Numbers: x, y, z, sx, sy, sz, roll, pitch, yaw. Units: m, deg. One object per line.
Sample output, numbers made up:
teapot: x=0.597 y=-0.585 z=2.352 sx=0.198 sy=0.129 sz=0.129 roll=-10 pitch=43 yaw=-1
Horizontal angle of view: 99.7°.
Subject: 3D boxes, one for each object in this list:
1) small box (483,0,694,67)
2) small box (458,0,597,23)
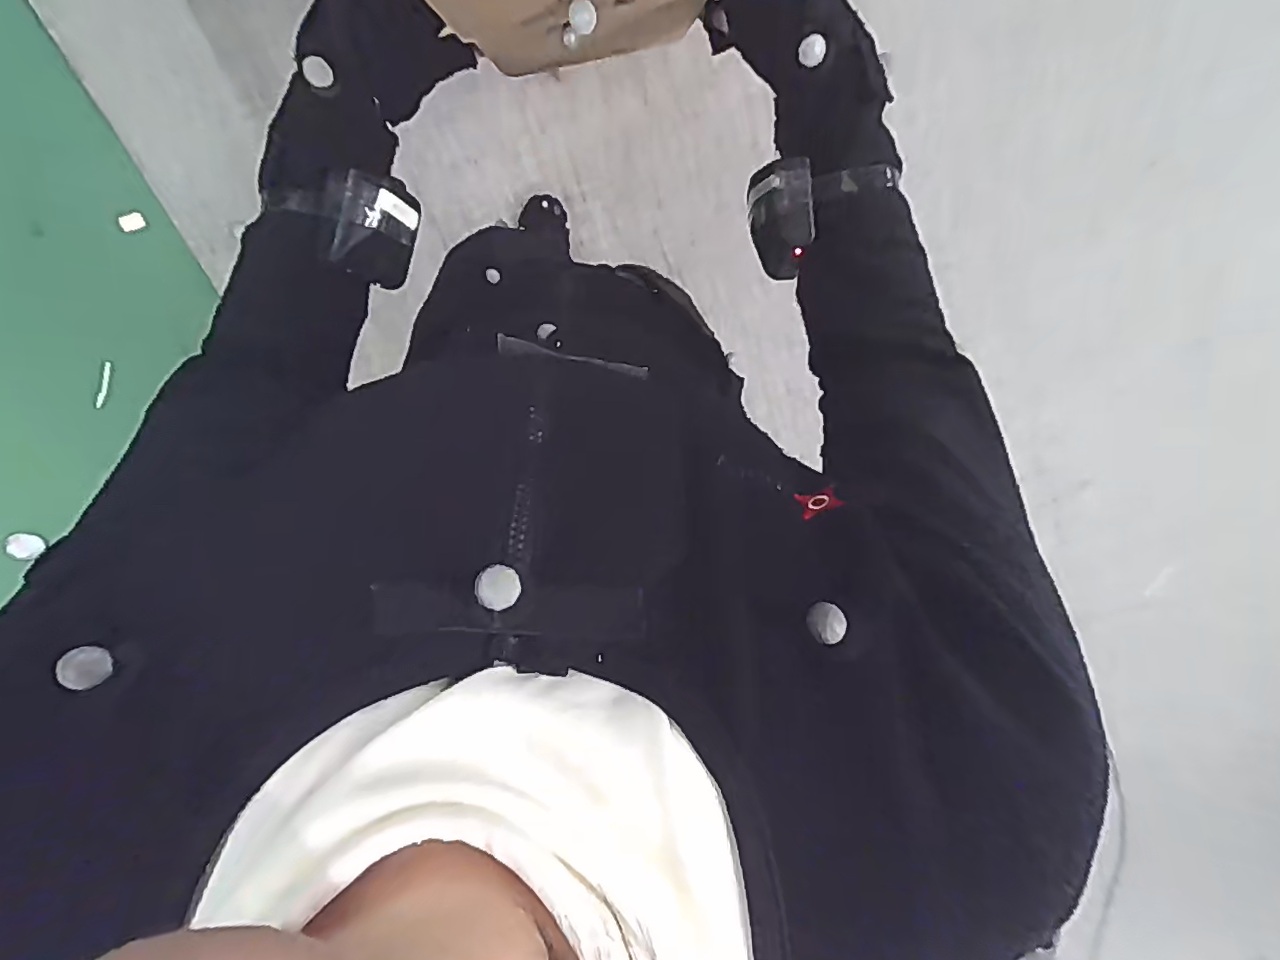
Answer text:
small box: x=-0.052 y=-0.420 z=0.371 sx=0.168 sy=0.176 sz=0.179 roll=-11 pitch=119 yaw=2
small box: x=-0.044 y=-0.338 z=0.229 sx=0.168 sy=0.176 sz=0.179 roll=-10 pitch=119 yaw=1
